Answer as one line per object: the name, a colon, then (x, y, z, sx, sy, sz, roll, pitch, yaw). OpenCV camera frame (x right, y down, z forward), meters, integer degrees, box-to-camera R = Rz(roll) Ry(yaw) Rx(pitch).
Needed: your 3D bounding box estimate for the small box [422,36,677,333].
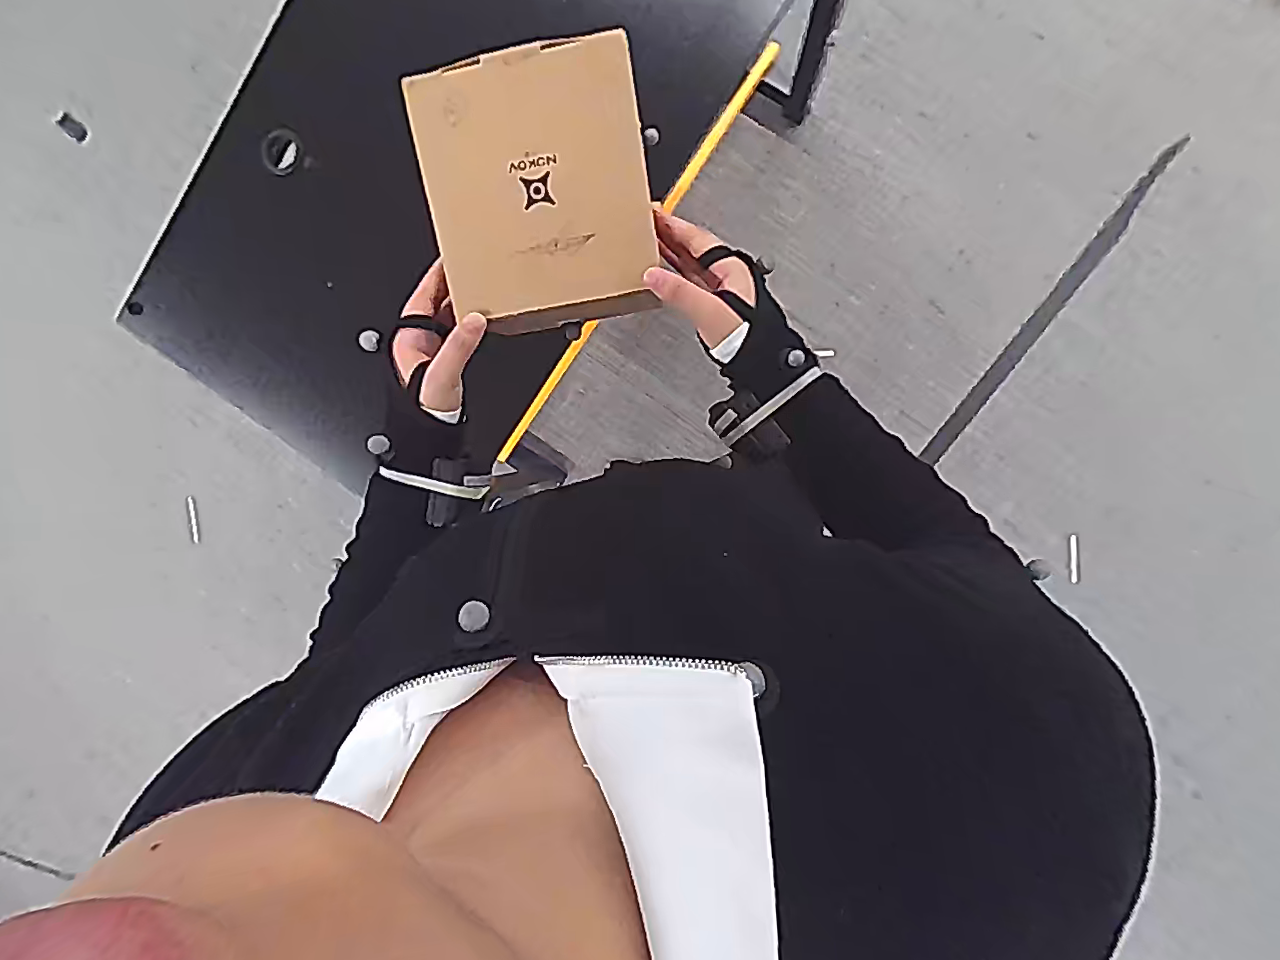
small box: (-0.061, -0.232, 0.474, 0.168, 0.176, 0.179, -8, 103, 5)
